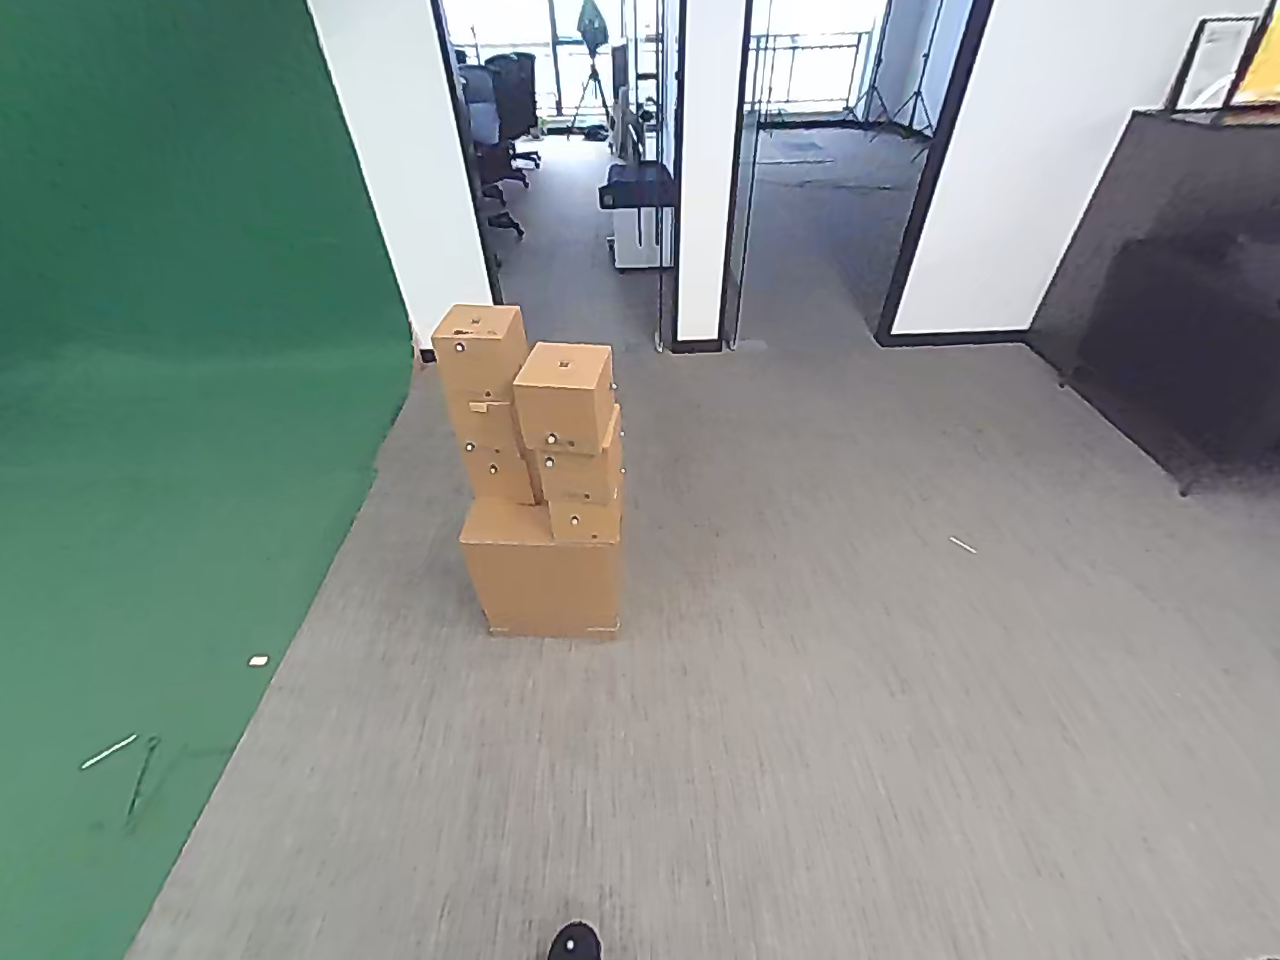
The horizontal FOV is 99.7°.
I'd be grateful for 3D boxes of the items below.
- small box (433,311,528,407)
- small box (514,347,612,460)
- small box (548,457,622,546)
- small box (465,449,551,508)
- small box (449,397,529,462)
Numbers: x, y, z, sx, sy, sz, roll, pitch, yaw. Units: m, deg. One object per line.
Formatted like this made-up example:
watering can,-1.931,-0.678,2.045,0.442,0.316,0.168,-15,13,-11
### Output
small box,-0.376,-0.295,1.314,0.168,0.176,0.179,2,40,4
small box,-0.154,-0.167,1.163,0.168,0.176,0.179,5,42,7
small box,-0.135,0.058,1.403,0.168,0.176,0.179,0,41,1
small box,-0.363,-0.039,1.521,0.179,0.176,0.168,6,42,6
small box,-0.370,-0.165,1.416,0.168,0.176,0.179,7,40,9
